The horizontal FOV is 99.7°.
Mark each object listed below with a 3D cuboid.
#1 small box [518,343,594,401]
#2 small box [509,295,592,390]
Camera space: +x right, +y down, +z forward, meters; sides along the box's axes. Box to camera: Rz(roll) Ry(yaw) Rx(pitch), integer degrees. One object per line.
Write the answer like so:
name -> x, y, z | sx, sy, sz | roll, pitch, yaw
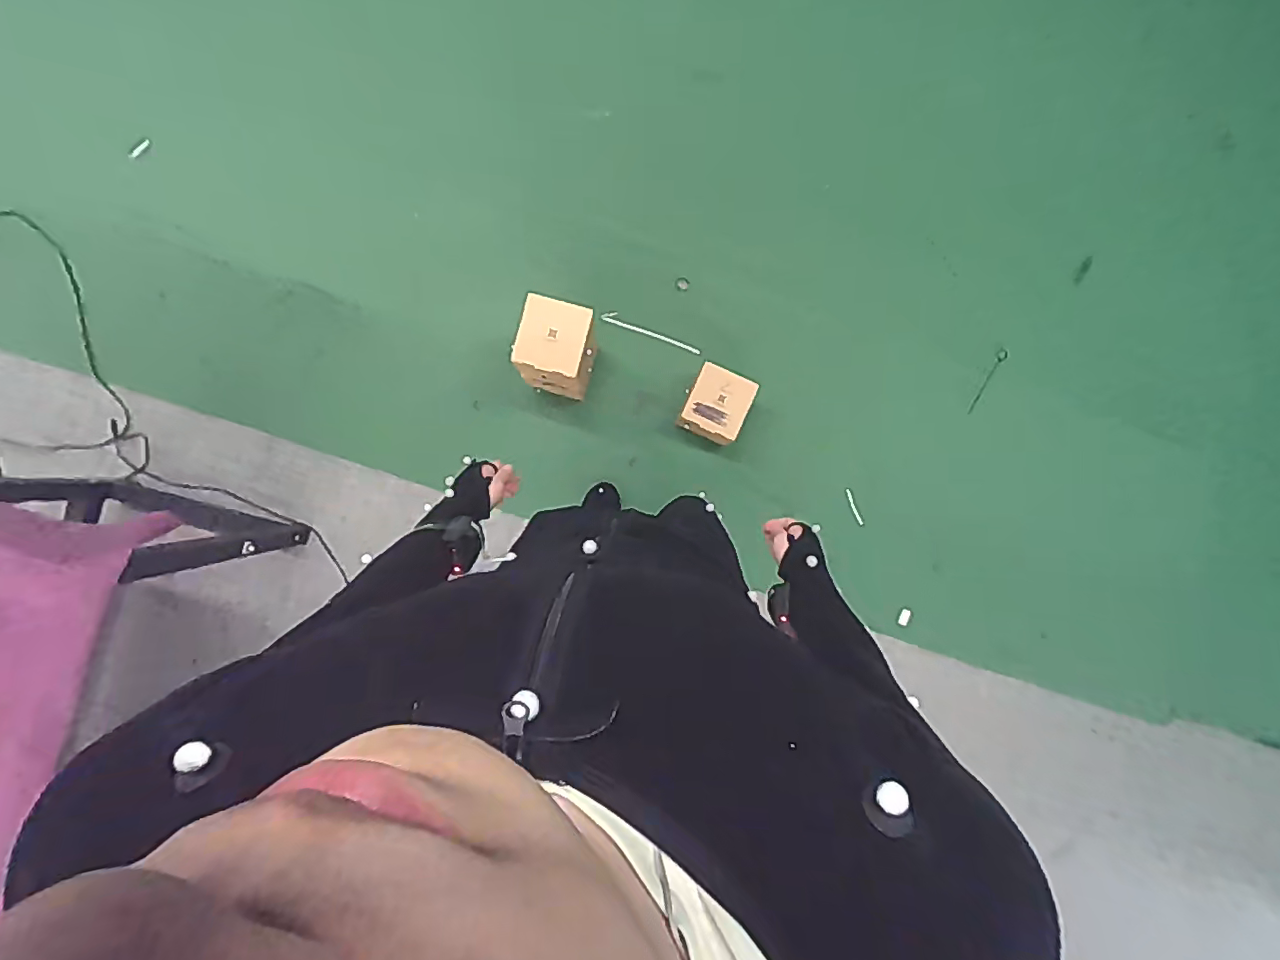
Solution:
small box -> -0.233, -0.338, 1.554 | 0.168, 0.176, 0.179 | 16, 88, -2
small box -> -0.222, -0.346, 1.392 | 0.168, 0.176, 0.179 | 15, 90, -2
